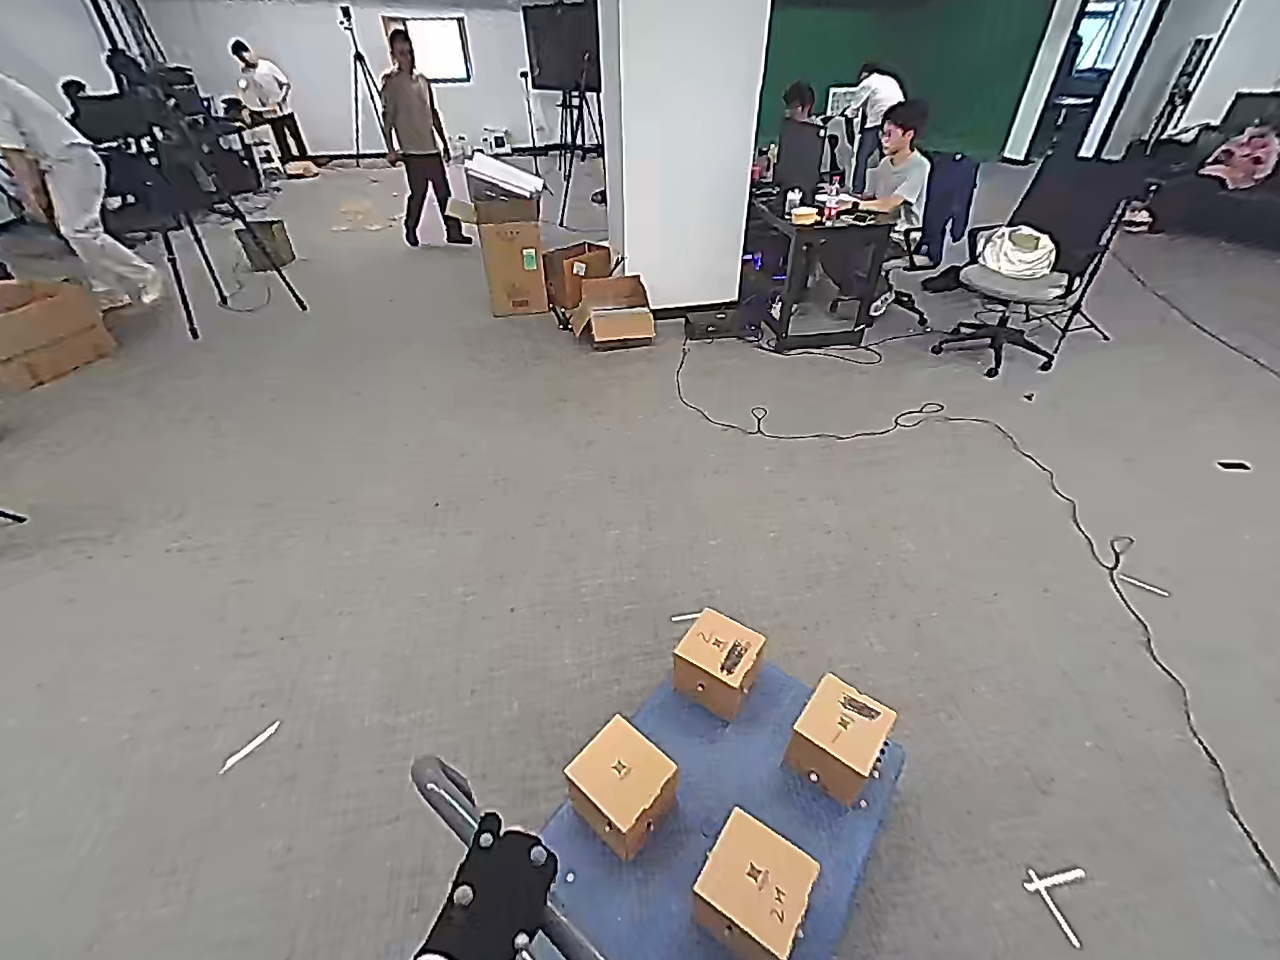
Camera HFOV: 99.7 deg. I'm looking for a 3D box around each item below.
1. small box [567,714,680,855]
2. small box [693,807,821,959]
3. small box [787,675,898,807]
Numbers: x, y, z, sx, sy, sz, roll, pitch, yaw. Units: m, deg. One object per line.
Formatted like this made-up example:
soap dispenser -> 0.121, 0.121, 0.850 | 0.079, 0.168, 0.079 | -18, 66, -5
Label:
small box -> -0.036, 0.653, 1.158 | 0.179, 0.176, 0.168 | 30, 48, 30
small box -> 0.210, 0.768, 1.009 | 0.179, 0.176, 0.168 | 24, 45, 28
small box -> 0.451, 0.591, 1.226 | 0.168, 0.176, 0.179 | 27, 48, 30
